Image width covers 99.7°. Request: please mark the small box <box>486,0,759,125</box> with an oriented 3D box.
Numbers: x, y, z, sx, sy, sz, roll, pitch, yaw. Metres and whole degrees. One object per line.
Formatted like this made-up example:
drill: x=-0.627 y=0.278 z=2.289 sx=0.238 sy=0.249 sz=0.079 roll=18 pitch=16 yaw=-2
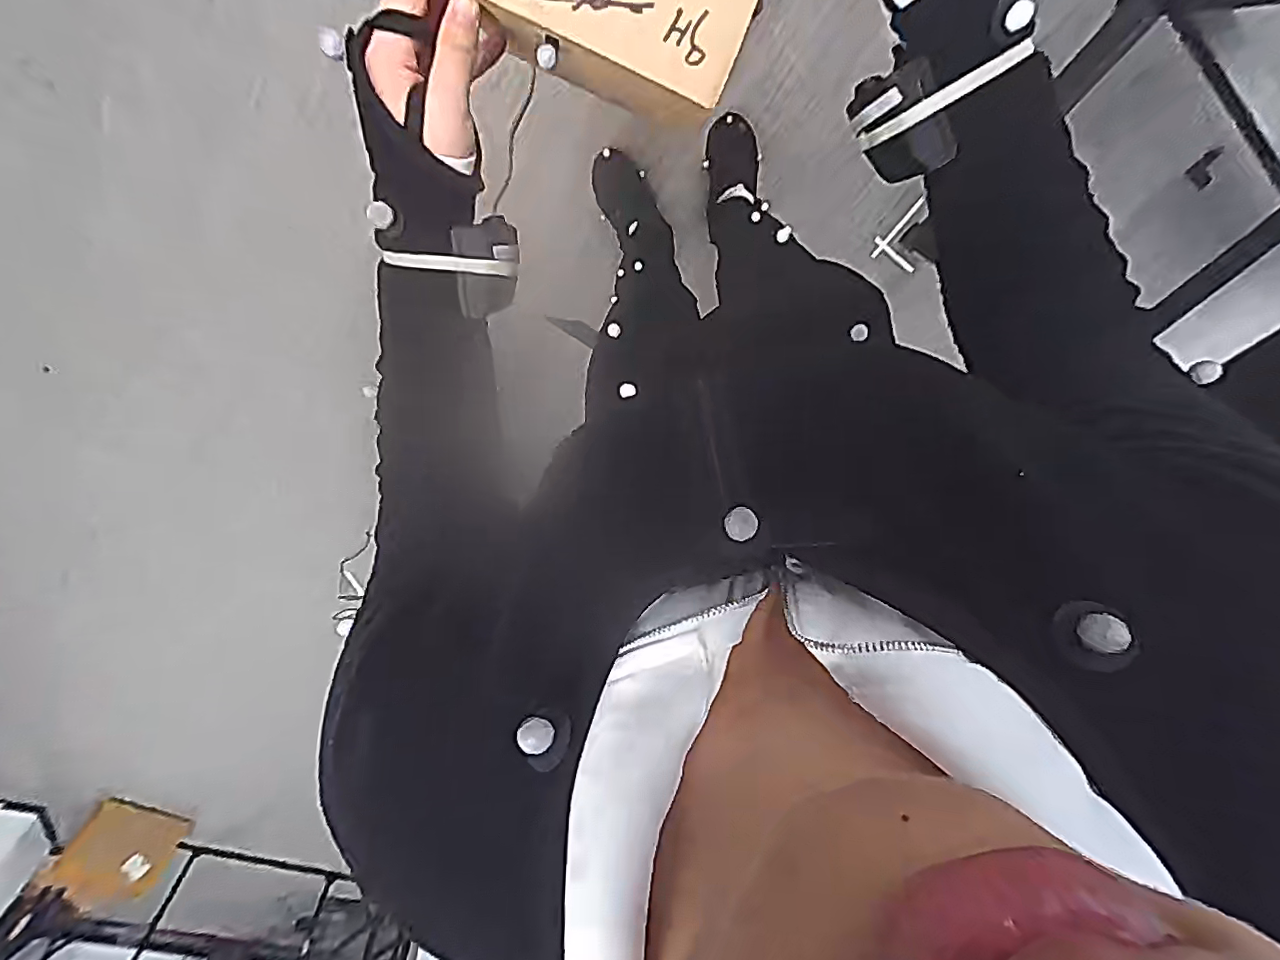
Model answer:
small box: x=-0.001 y=-0.352 z=0.330 sx=0.168 sy=0.176 sz=0.179 roll=19 pitch=116 yaw=-12
